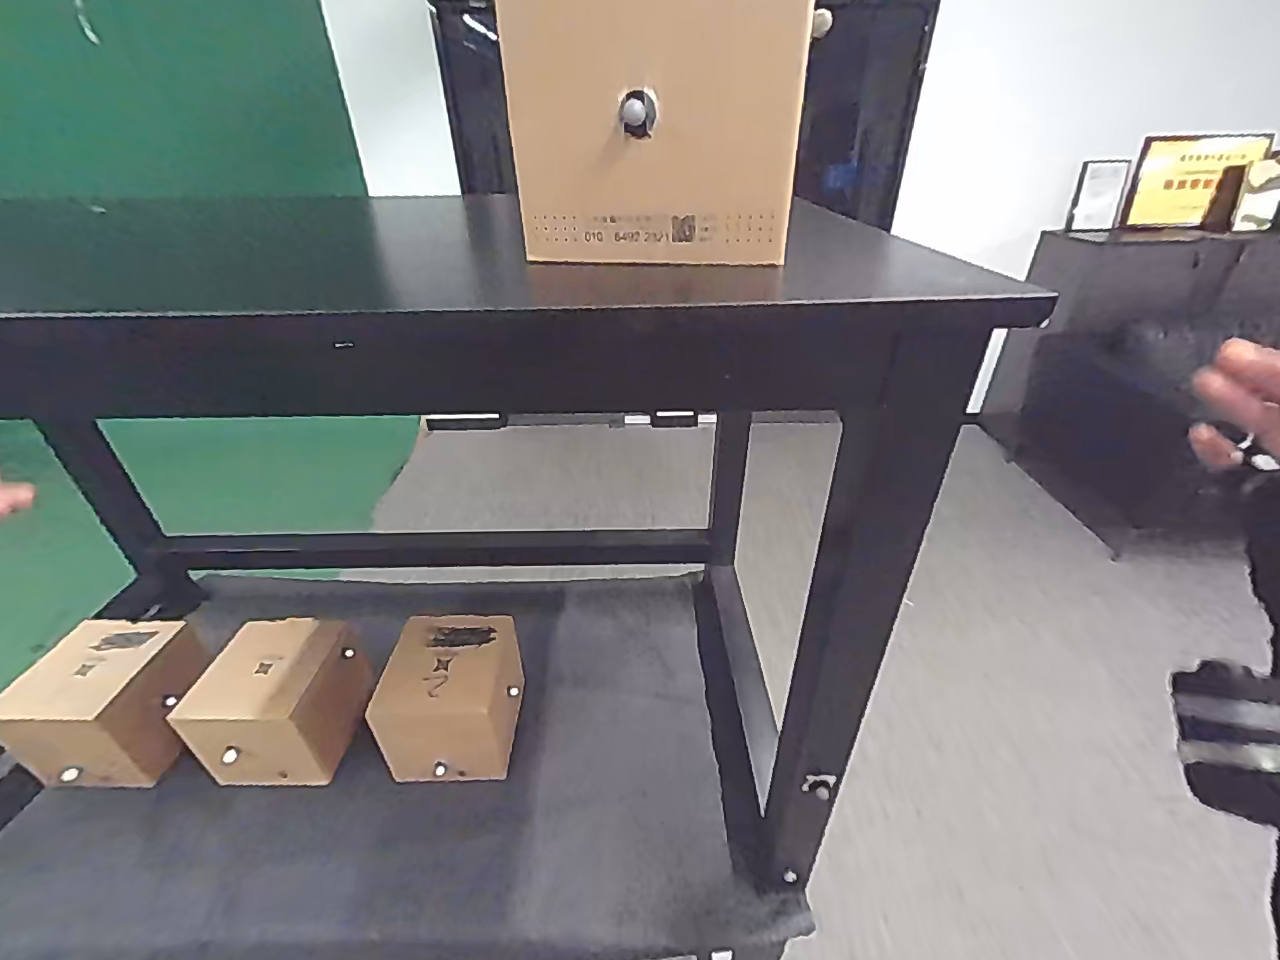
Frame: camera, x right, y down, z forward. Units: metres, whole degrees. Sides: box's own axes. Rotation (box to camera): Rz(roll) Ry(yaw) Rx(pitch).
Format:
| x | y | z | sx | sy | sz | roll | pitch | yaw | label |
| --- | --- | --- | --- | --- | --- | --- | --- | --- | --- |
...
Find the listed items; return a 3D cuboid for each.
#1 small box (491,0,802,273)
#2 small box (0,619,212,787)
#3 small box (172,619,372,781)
| x | y | z | sx | sy | sz | roll | pitch | yaw | label |
| --- | --- | --- | --- | --- | --- | --- | --- | --- | --- |
| 0.018 | -0.246 | 0.372 | 0.168 | 0.176 | 0.179 | 6 | 33 | 9 | small box |
| -0.794 | 0.337 | 0.830 | 0.168 | 0.176 | 0.179 | 0 | 33 | 1 | small box |
| -0.542 | 0.337 | 0.830 | 0.168 | 0.176 | 0.179 | 0 | 32 | 1 | small box |
